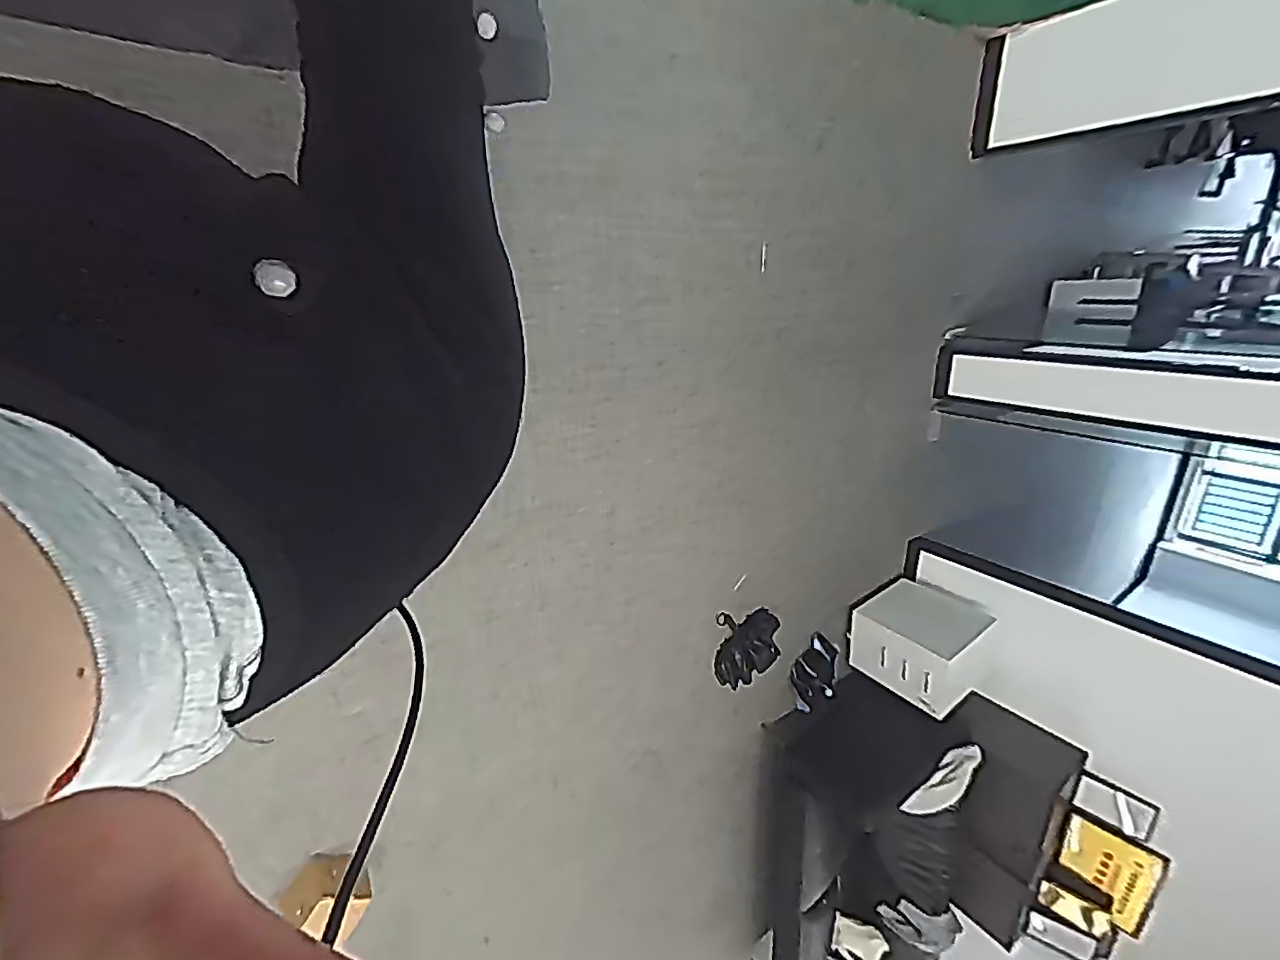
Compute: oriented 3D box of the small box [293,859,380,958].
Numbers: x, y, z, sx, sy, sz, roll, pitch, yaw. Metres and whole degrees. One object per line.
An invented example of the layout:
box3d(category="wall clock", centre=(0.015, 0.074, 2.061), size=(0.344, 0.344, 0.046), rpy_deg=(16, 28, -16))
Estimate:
box3d(category="small box", centre=(-0.938, 1.304, 1.659), size=(0.168, 0.176, 0.179), rpy_deg=(36, 83, -38))
